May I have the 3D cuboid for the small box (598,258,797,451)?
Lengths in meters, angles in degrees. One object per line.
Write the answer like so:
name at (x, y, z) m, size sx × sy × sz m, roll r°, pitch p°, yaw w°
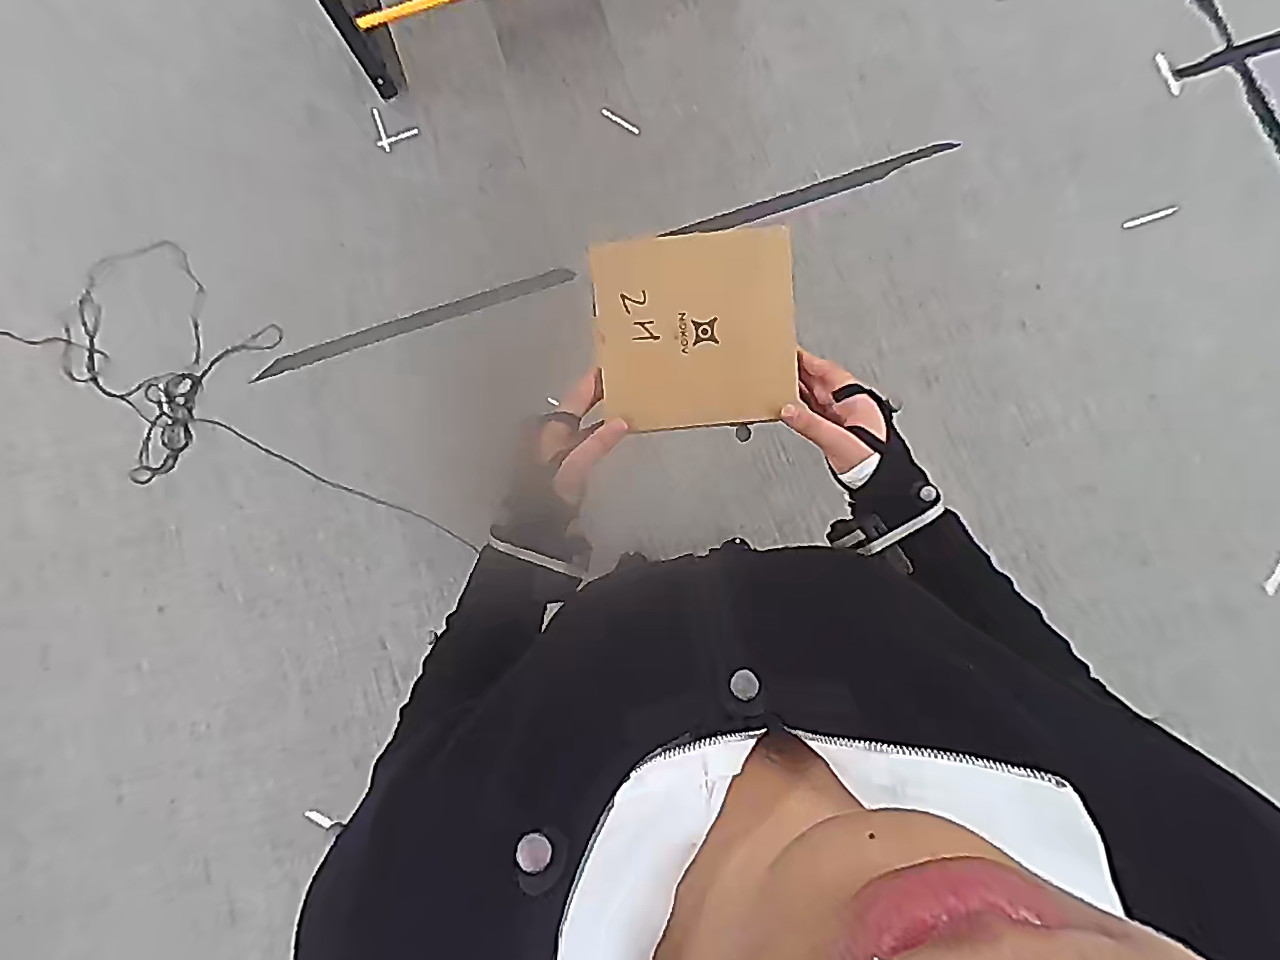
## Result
small box at (0.055, -0.120, 0.570) m, size 0.179 × 0.176 × 0.168 m, roll -4°, pitch 94°, yaw 3°
